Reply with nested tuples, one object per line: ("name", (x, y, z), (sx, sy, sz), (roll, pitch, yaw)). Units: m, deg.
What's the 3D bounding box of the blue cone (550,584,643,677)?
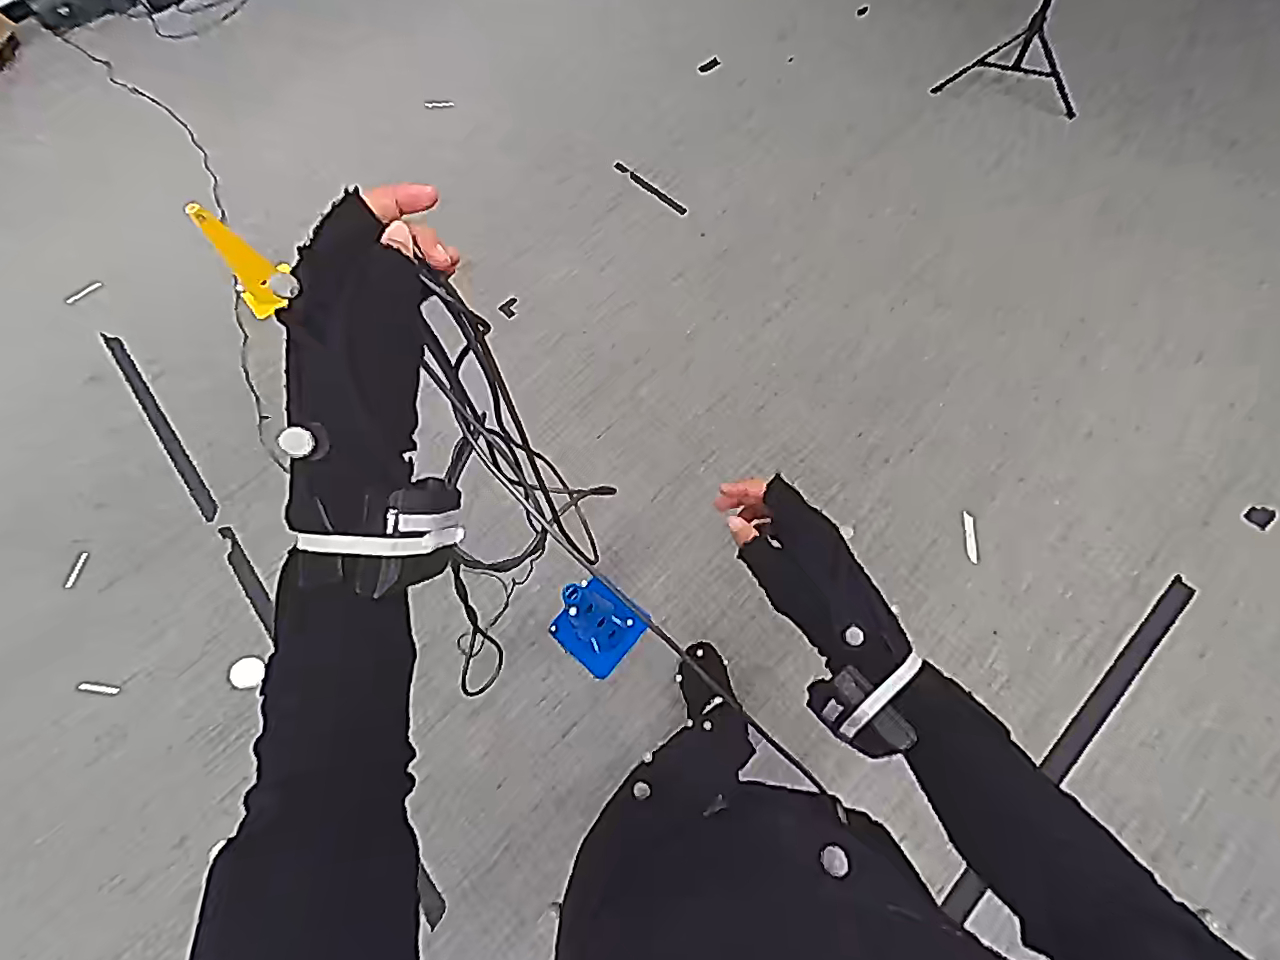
("blue cone", (-0.124, 0.309, 1.226), (0.193, 0.380, 0.192), (38, 75, 20))
